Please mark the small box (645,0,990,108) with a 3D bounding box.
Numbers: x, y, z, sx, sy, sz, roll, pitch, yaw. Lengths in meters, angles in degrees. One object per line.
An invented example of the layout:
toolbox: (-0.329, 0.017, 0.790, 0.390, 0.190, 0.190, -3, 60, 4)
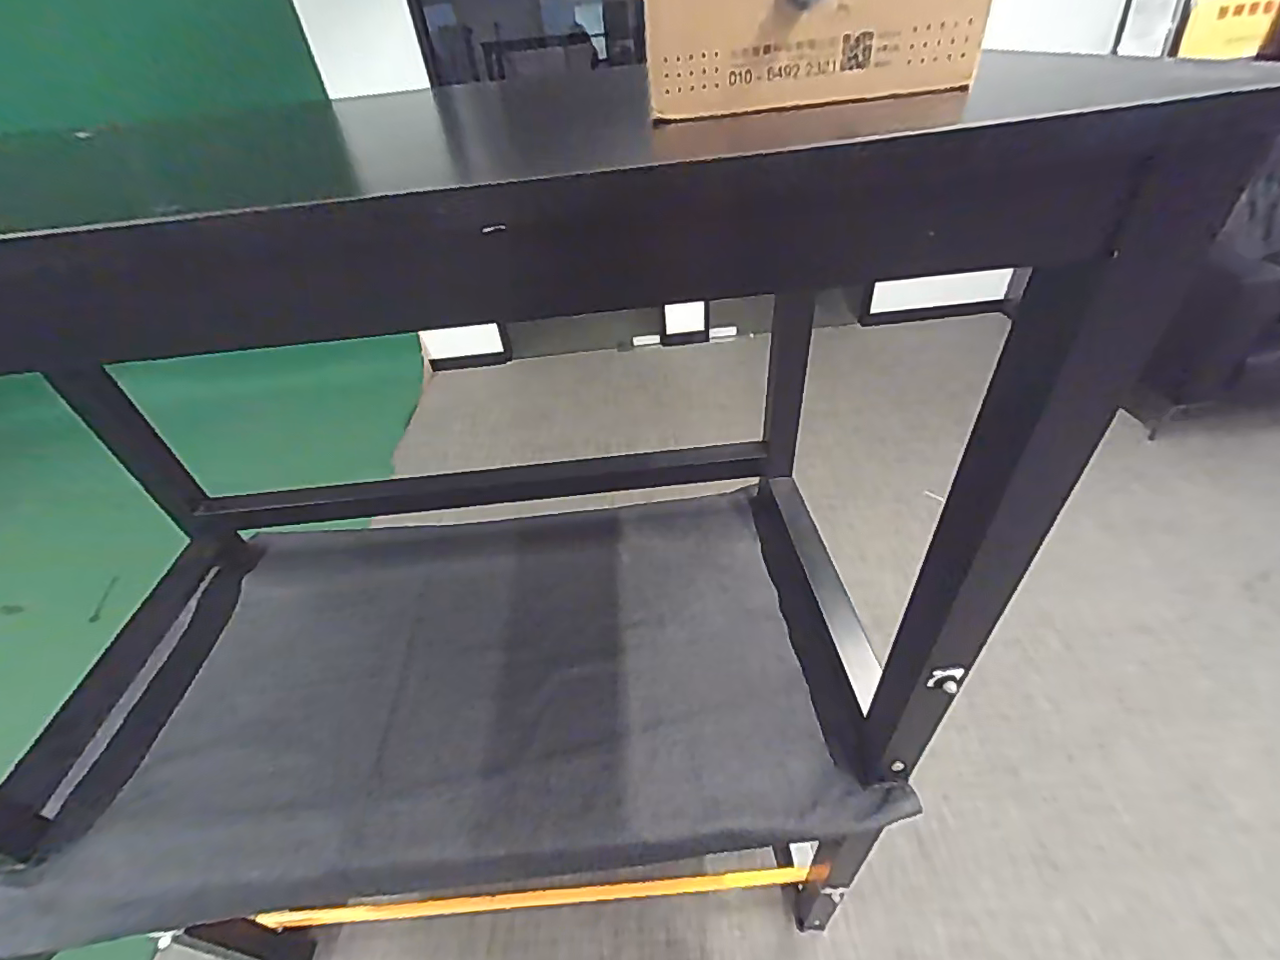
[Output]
small box: (0.085, -0.315, 0.293, 0.168, 0.176, 0.179, -3, 41, 6)
